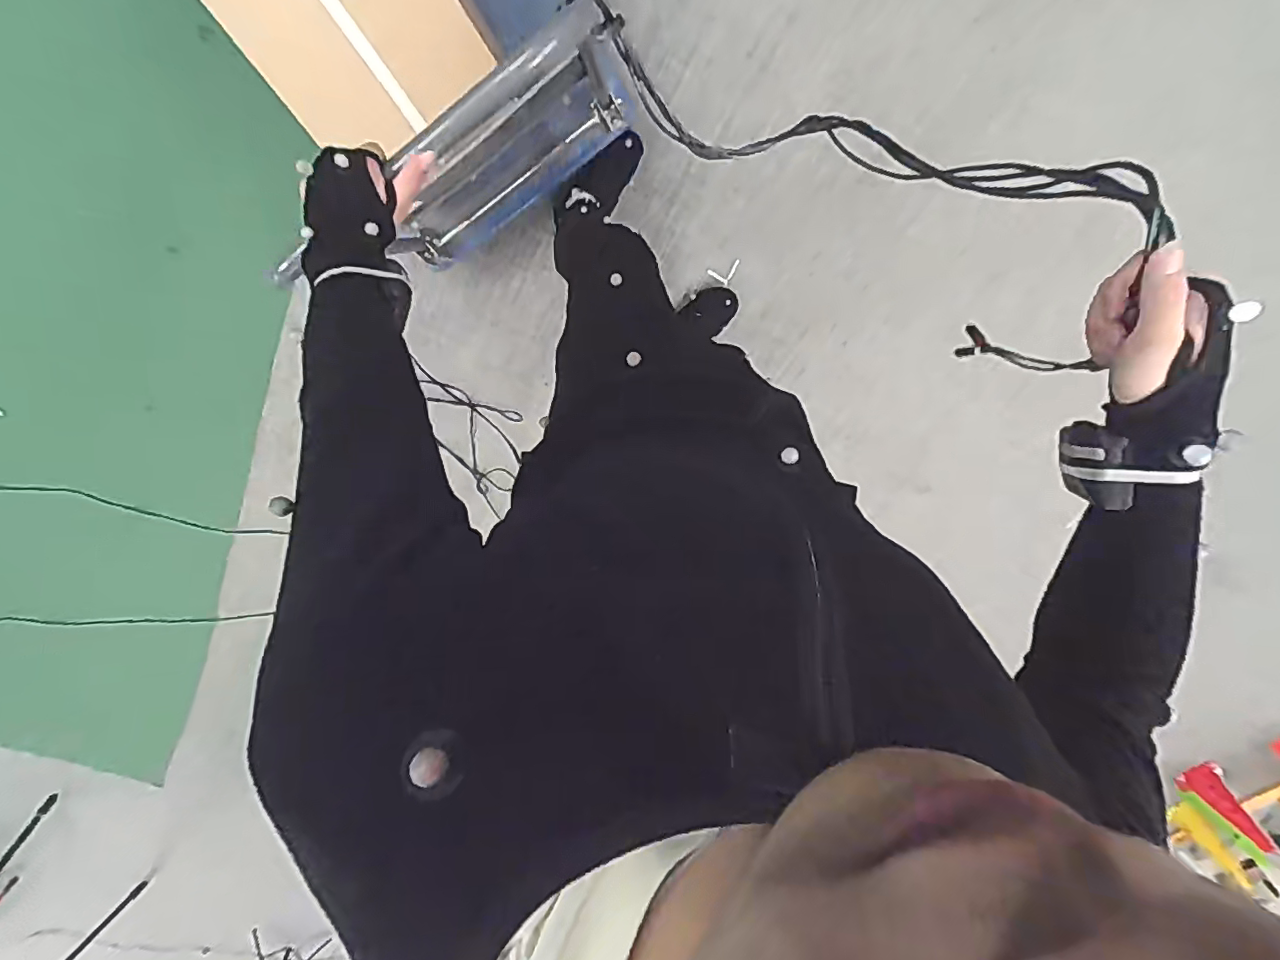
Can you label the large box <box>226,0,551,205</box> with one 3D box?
[{"bbox_3d":[-0.409,-0.755,0.933,0.320,0.320,0.408,-29,116,14],"label":"large box"}]
